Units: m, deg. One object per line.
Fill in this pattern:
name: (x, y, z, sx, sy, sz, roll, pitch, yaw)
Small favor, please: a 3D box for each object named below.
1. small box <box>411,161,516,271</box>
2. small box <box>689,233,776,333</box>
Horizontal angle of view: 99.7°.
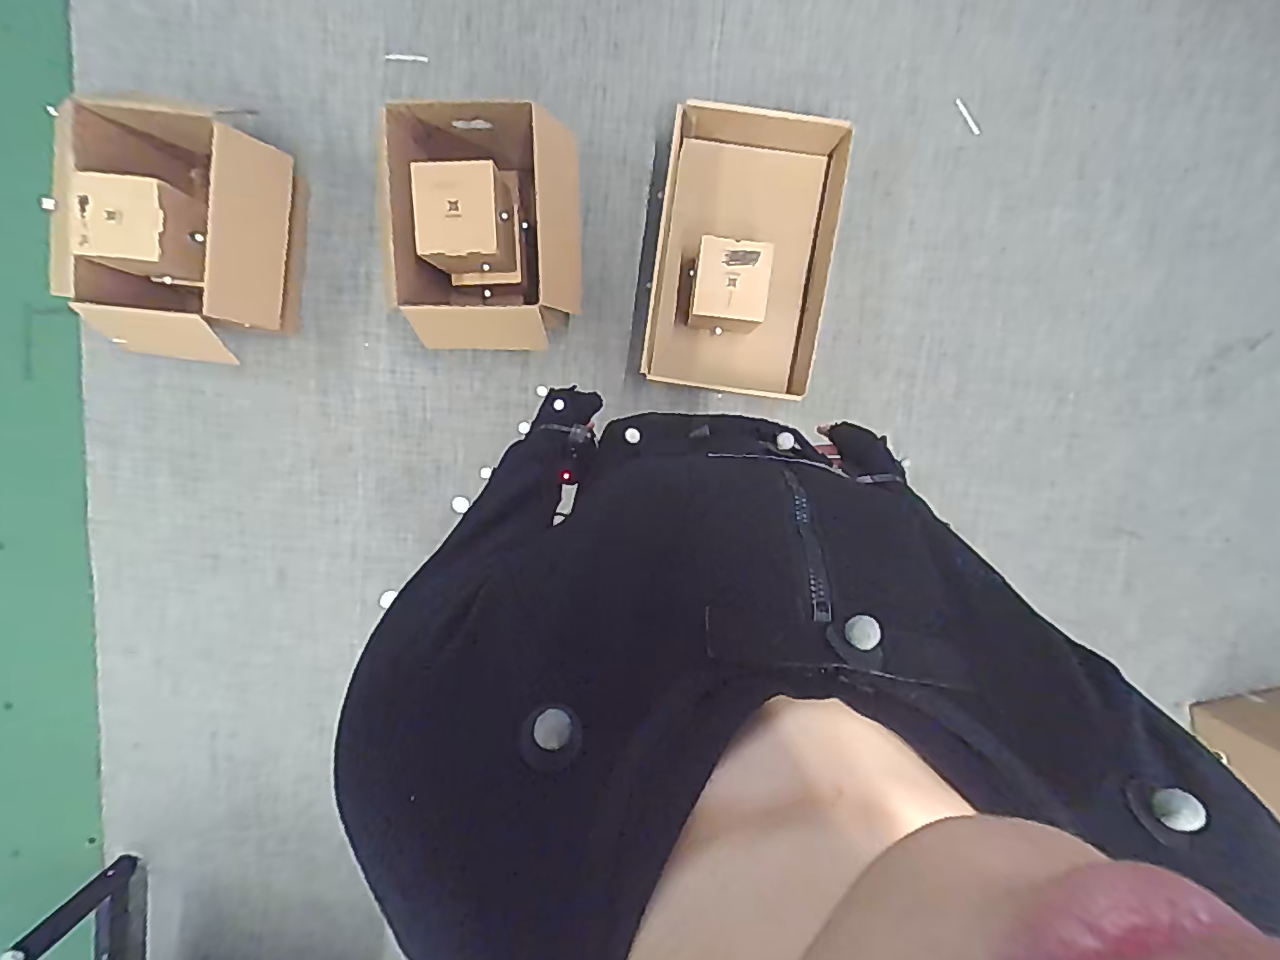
small box: (-0.366, -0.551, 1.150, 0.168, 0.176, 0.179, -1, 98, 1)
small box: (0.210, -0.458, 1.278, 0.168, 0.176, 0.179, 7, 96, 0)
